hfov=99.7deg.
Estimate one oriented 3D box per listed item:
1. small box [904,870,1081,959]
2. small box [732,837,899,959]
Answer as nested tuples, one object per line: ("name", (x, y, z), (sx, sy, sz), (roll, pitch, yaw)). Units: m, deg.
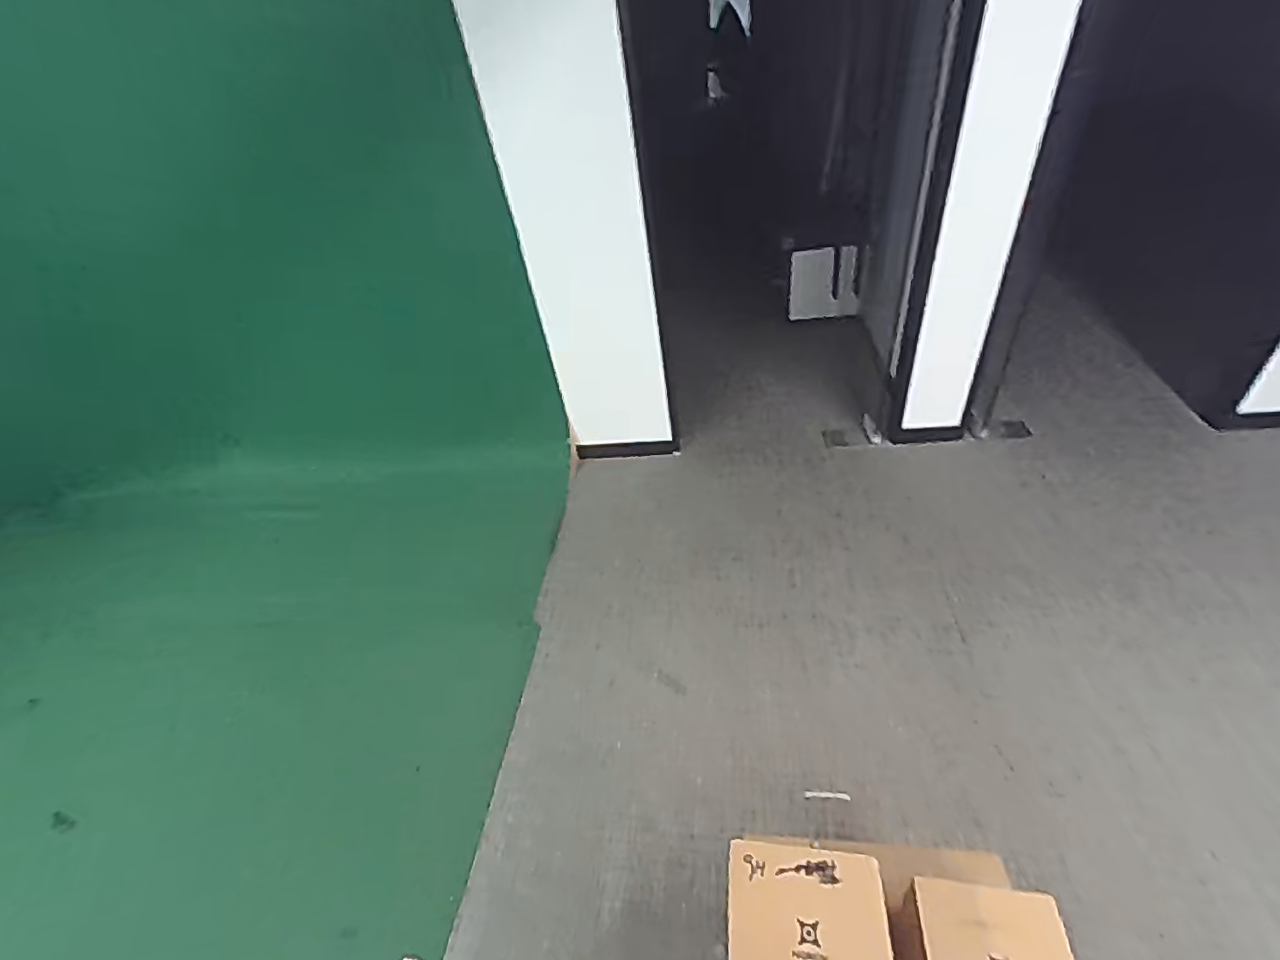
("small box", (0.446, 0.635, 0.686), (0.168, 0.176, 0.179), (0, 40, 14))
("small box", (0.191, 0.534, 0.610), (0.168, 0.176, 0.179), (-1, 43, 10))
